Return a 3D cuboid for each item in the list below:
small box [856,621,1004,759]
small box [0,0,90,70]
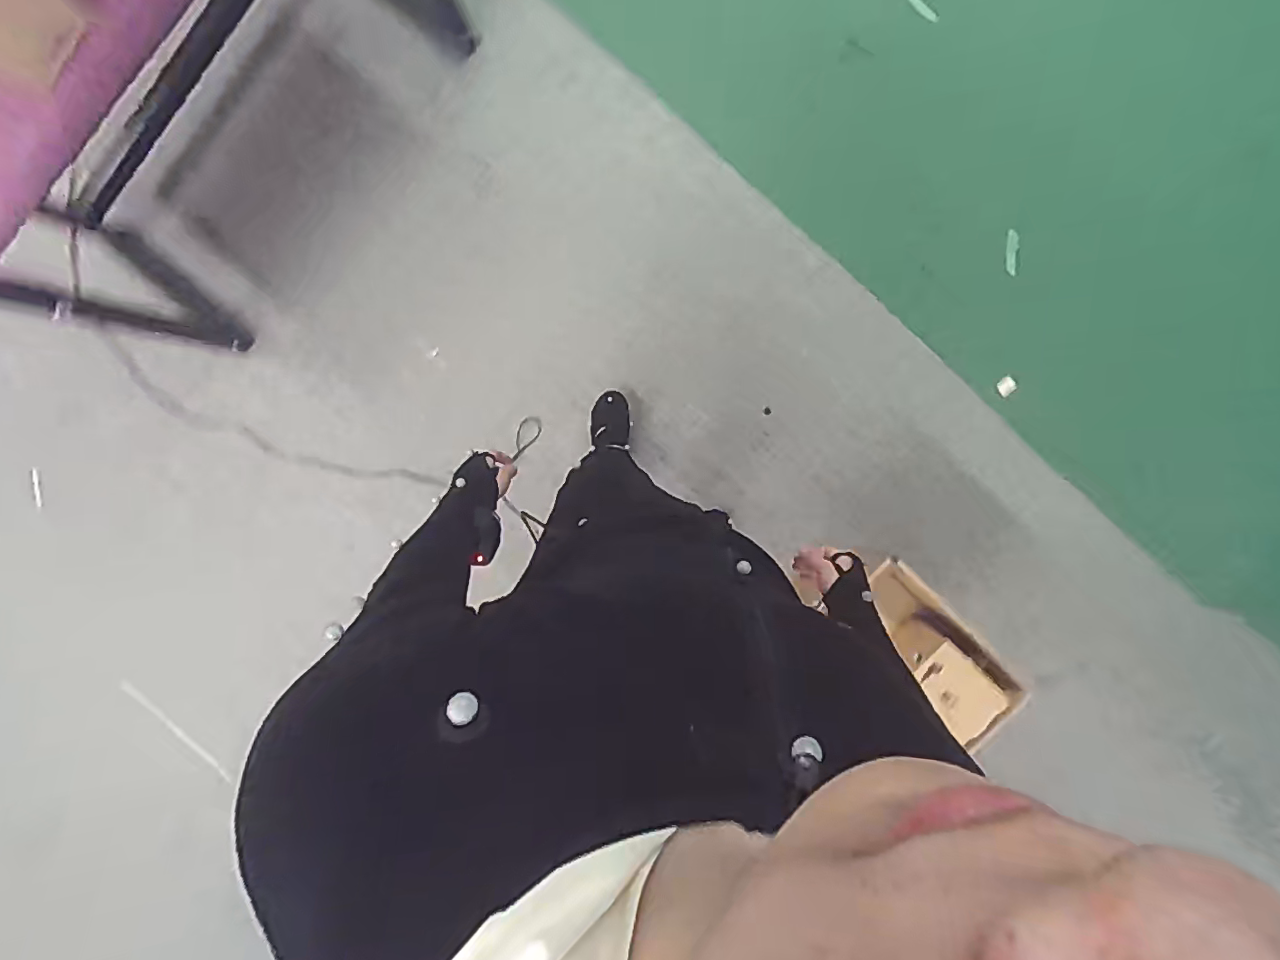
[{"bbox_3d":[0.593,0.426,1.129,0.168,0.176,0.179,-44,91,5],"label":"small box"},{"bbox_3d":[-1.026,-0.790,0.824,0.179,0.176,0.168,41,96,1],"label":"small box"}]
